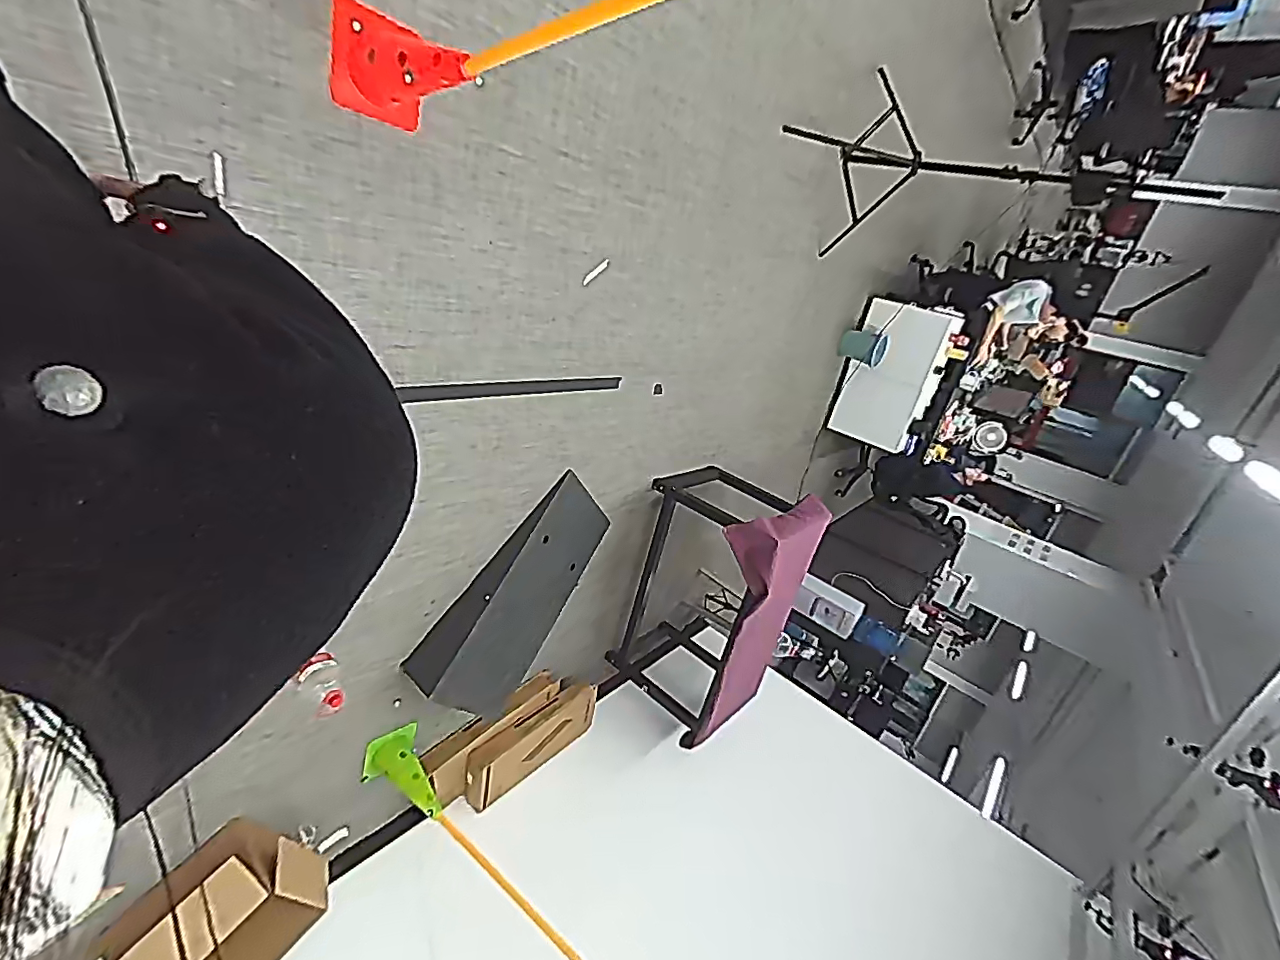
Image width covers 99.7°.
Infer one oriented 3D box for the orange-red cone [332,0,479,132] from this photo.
[{"bbox_3d":[-0.439,-0.830,1.091,0.198,0.360,0.199,-10,122,-50],"label":"orange-red cone"}]
